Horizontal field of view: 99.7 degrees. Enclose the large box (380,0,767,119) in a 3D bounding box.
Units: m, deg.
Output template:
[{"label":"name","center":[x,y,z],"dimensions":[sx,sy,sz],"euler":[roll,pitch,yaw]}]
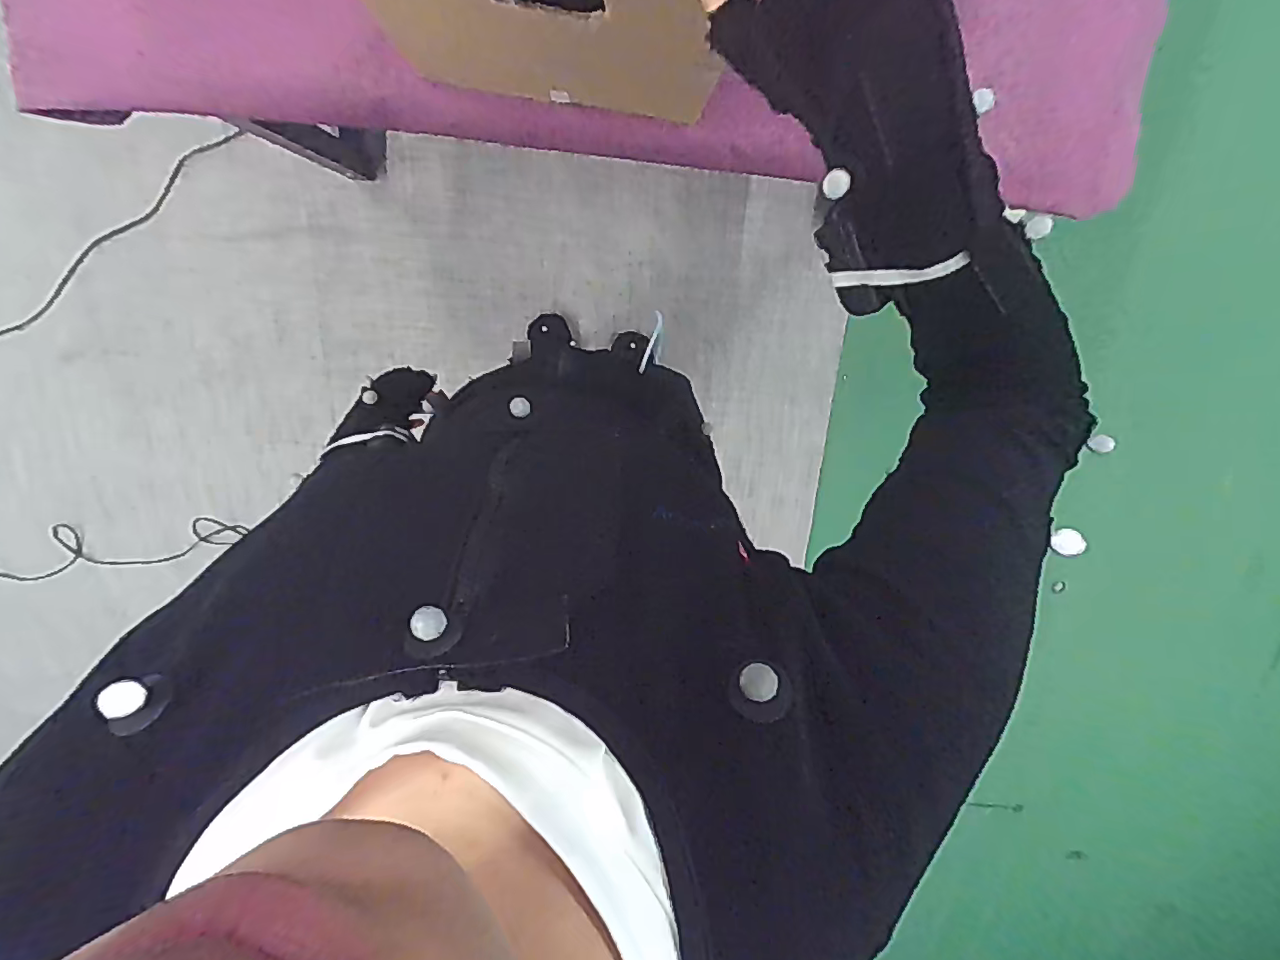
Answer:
[{"label":"large box","center":[-0.047,-0.573,0.414],"dimensions":[0.320,0.320,0.408],"euler":[6,108,-6]}]
